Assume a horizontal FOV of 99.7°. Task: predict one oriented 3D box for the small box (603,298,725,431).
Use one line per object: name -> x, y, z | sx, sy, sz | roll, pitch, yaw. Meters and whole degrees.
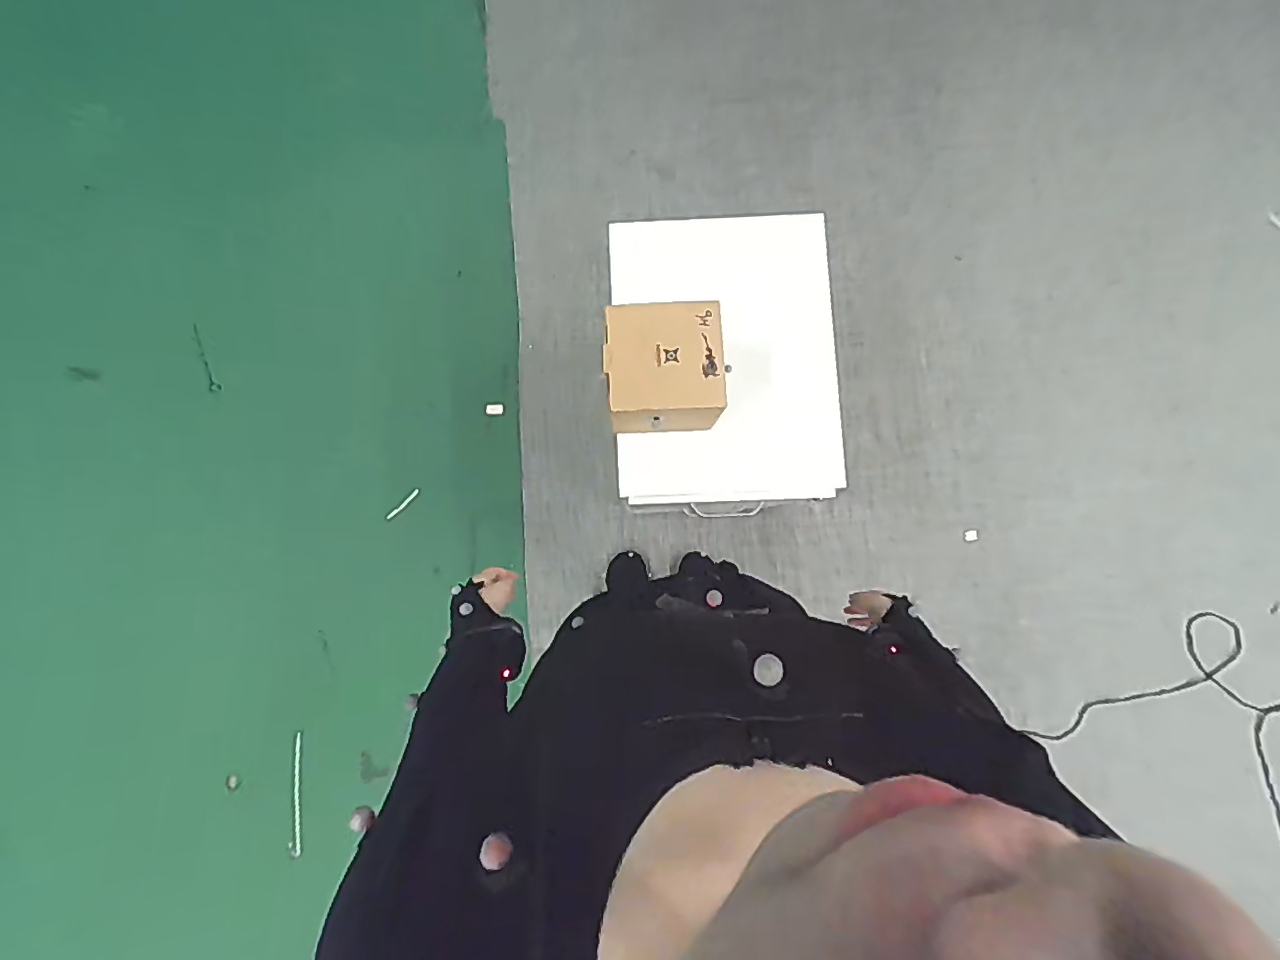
small box -> 0.035, -0.177, 0.874 | 0.179, 0.176, 0.168 | -3, 84, 0
